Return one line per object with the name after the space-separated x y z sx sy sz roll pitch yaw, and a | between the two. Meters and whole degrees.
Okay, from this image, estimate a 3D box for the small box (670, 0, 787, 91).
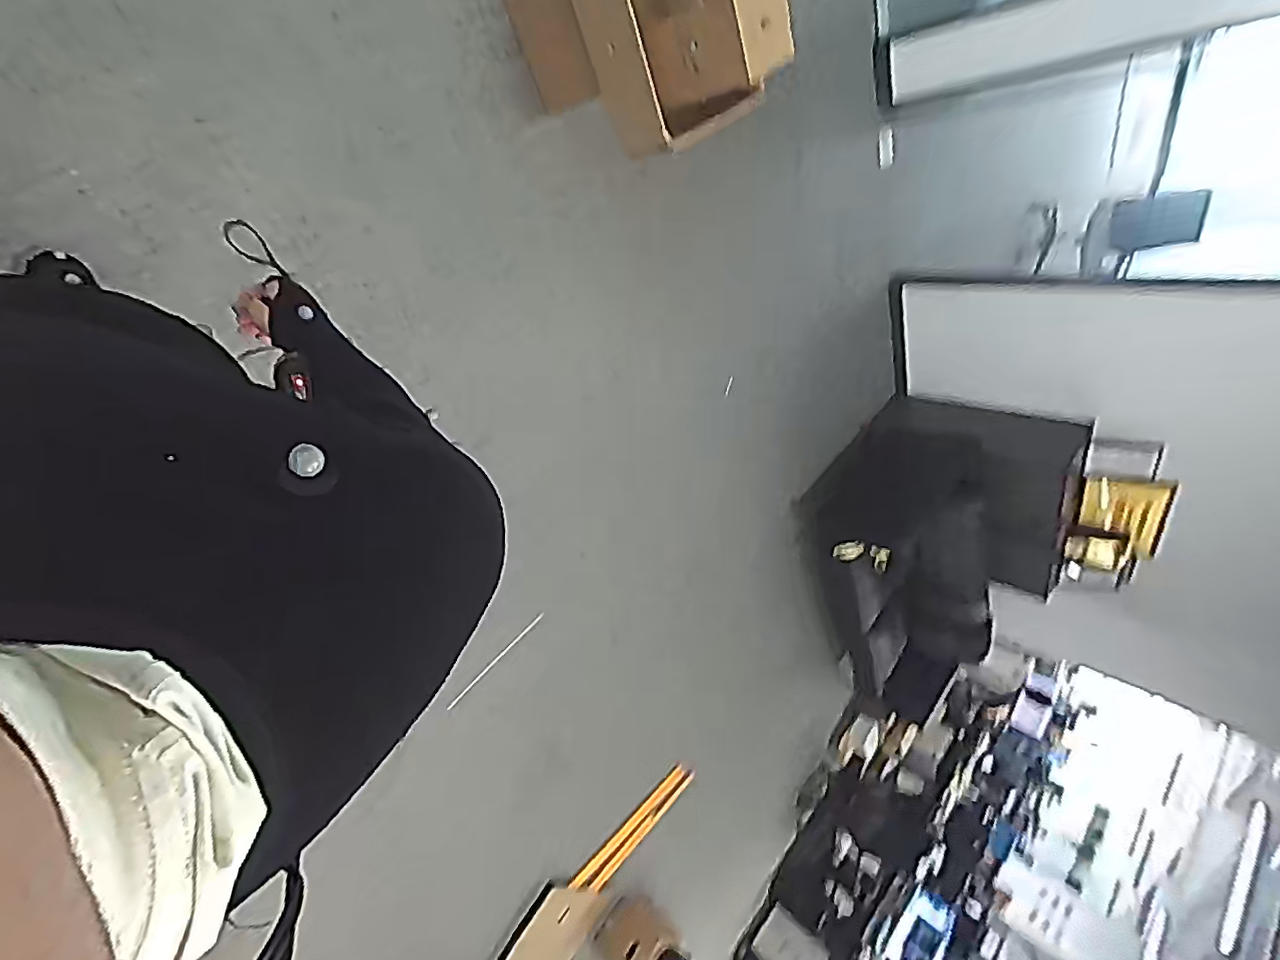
0.197 -0.999 1.197 0.179 0.176 0.168 -44 131 -23 | small box

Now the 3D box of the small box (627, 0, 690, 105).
0.089 -1.044 1.311 0.179 0.176 0.168 -44 132 -24 | small box
